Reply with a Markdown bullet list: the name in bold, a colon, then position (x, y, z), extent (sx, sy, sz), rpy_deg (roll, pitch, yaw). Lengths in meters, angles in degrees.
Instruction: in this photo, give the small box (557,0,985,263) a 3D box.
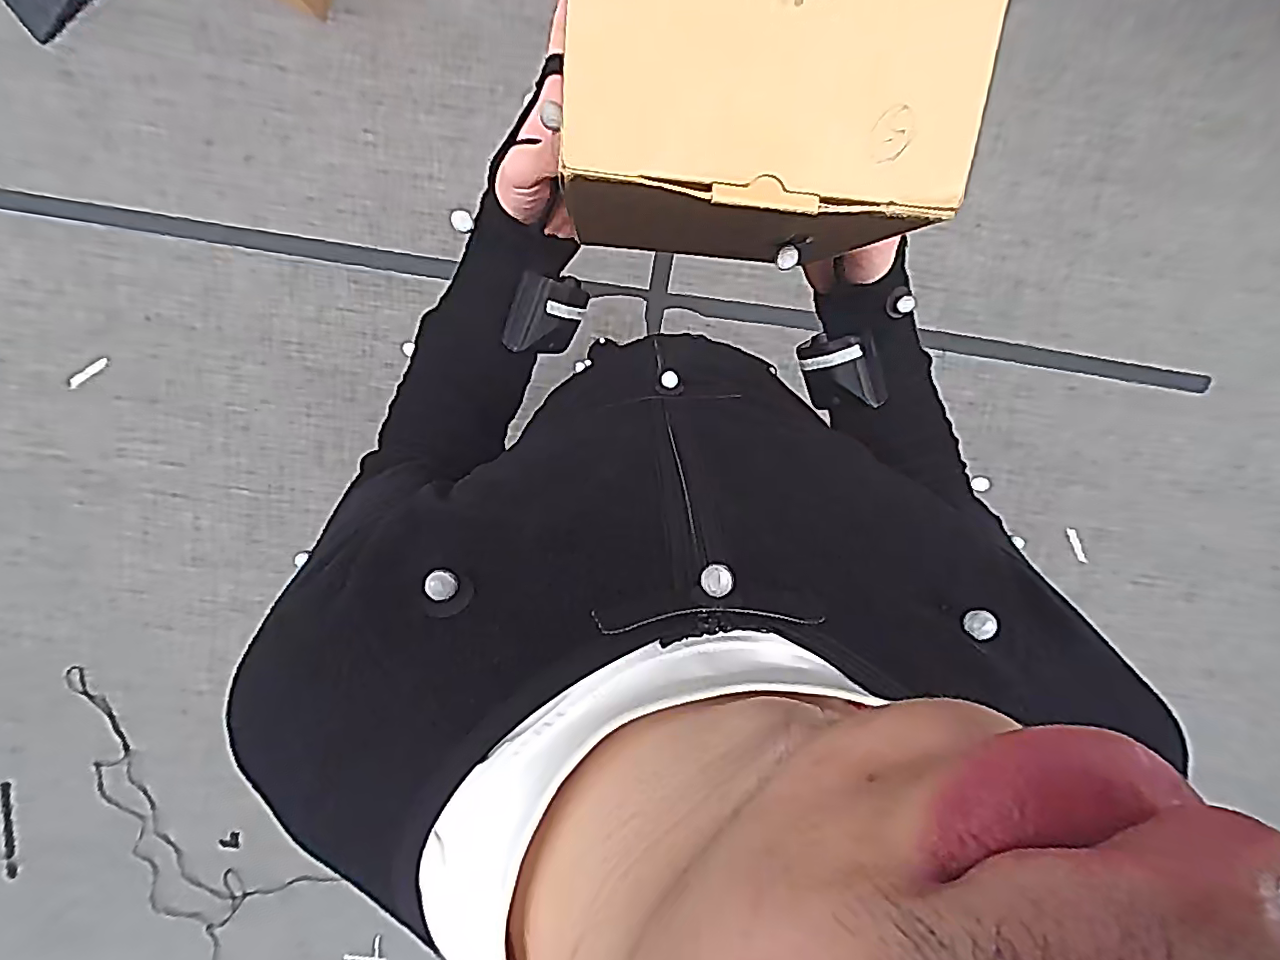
- **small box**: position (0.049, -0.220, 0.283), extent (0.168, 0.176, 0.179), rpy_deg (3, 104, -6)
